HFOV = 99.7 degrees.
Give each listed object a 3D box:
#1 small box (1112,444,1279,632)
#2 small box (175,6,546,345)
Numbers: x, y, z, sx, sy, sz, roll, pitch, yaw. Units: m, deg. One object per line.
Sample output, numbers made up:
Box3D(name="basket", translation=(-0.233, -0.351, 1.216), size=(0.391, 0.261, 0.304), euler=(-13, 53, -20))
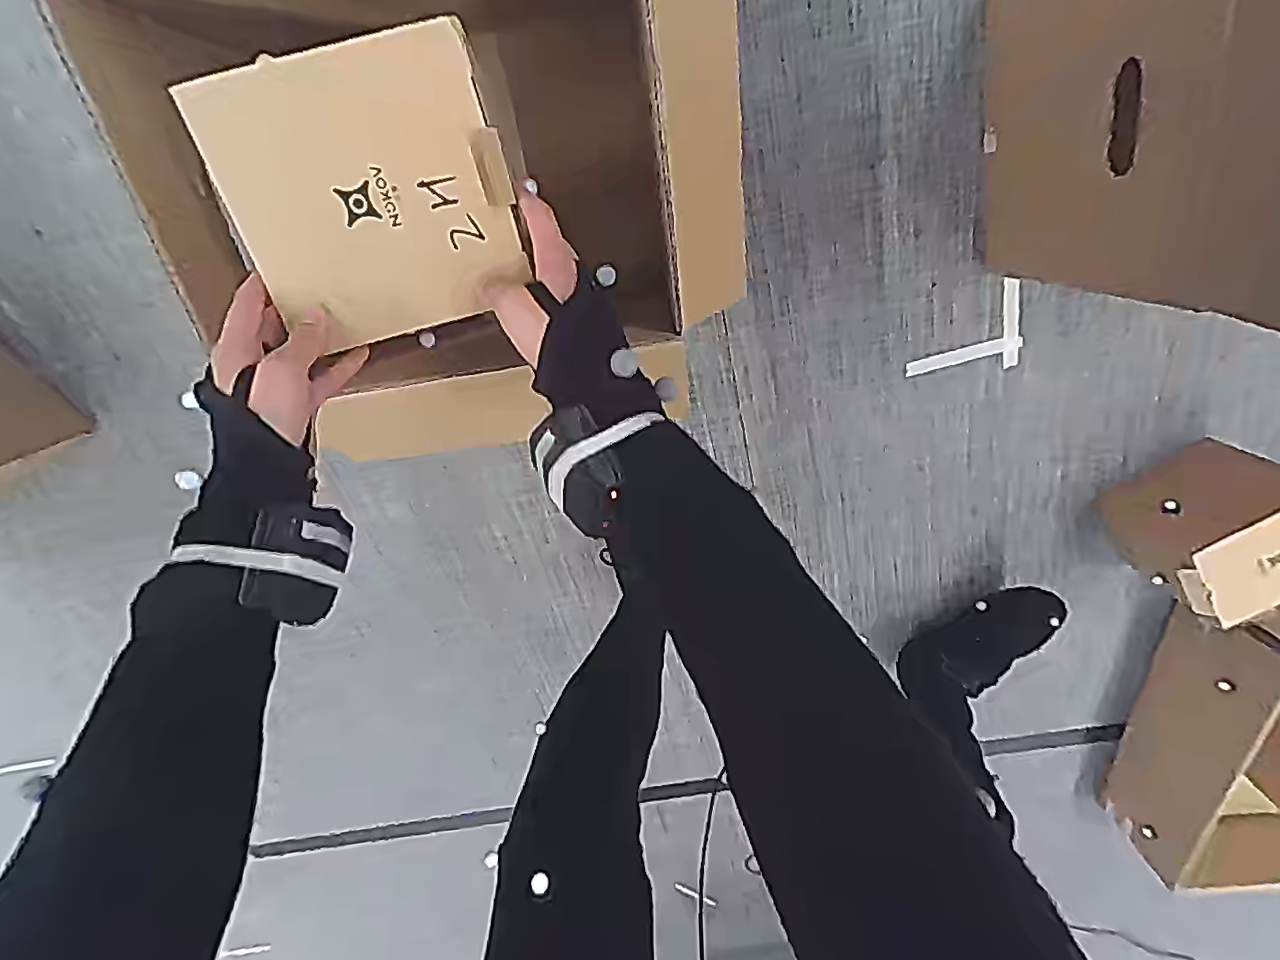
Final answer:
Box3D(name="small box", translation=(0.846, 0.079, 0.790), size=(0.179, 0.176, 0.168), euler=(-35, 111, 15))
Box3D(name="small box", translation=(-0.181, -0.216, 0.420), size=(0.179, 0.176, 0.168), euler=(-15, 115, -1))
